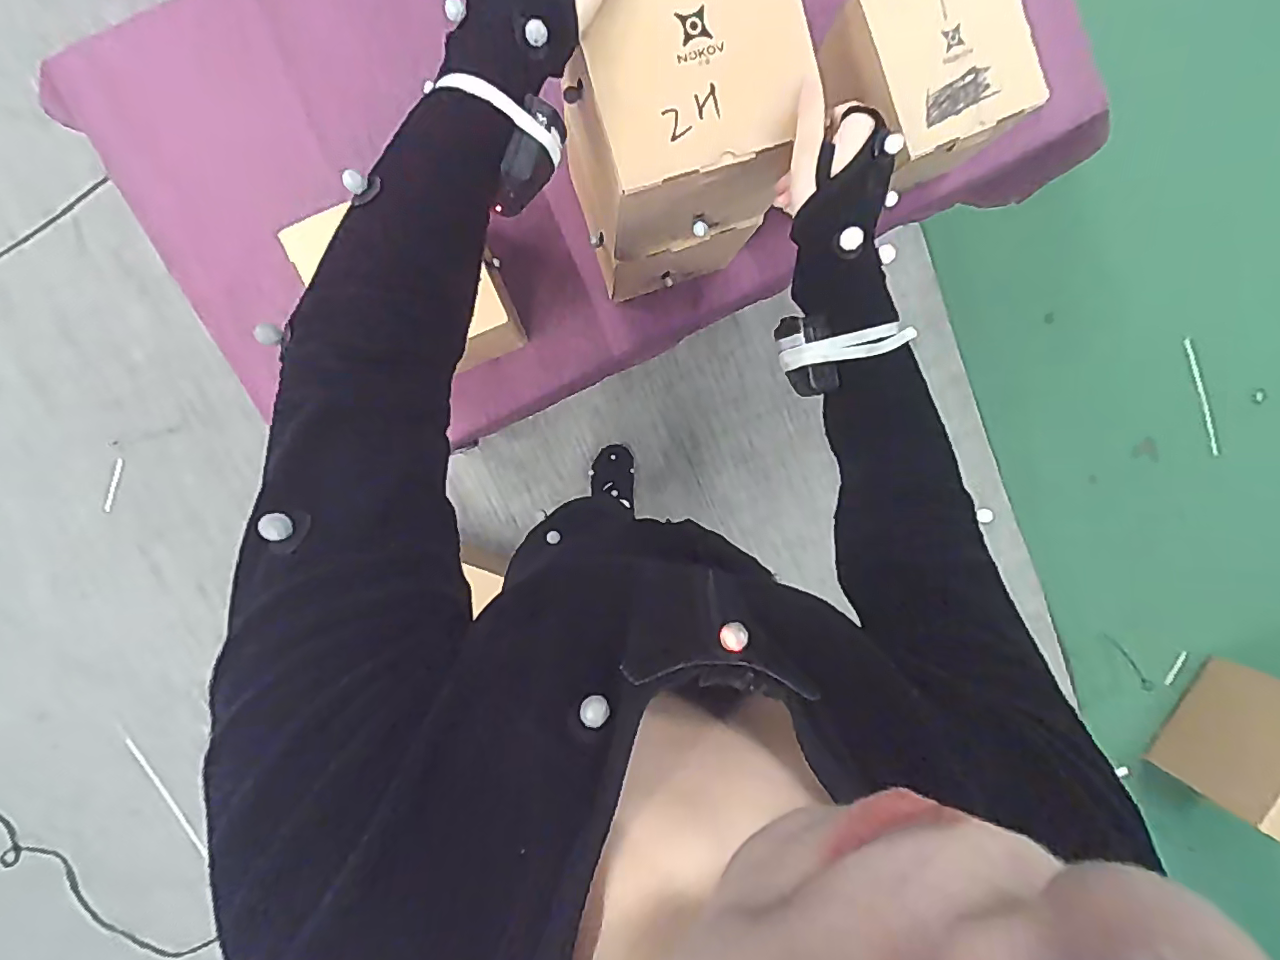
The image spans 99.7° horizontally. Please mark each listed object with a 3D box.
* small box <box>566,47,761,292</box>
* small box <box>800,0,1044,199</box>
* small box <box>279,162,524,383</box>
[{"bbox_3d":[0.018,-0.342,0.631,0.168,0.176,0.179,-19,99,-2],"label":"small box"},{"bbox_3d":[0.316,-0.461,0.638,0.168,0.176,0.179,-23,98,-2],"label":"small box"},{"bbox_3d":[-0.253,-0.218,0.622,0.179,0.176,0.168,-23,99,-1],"label":"small box"}]
